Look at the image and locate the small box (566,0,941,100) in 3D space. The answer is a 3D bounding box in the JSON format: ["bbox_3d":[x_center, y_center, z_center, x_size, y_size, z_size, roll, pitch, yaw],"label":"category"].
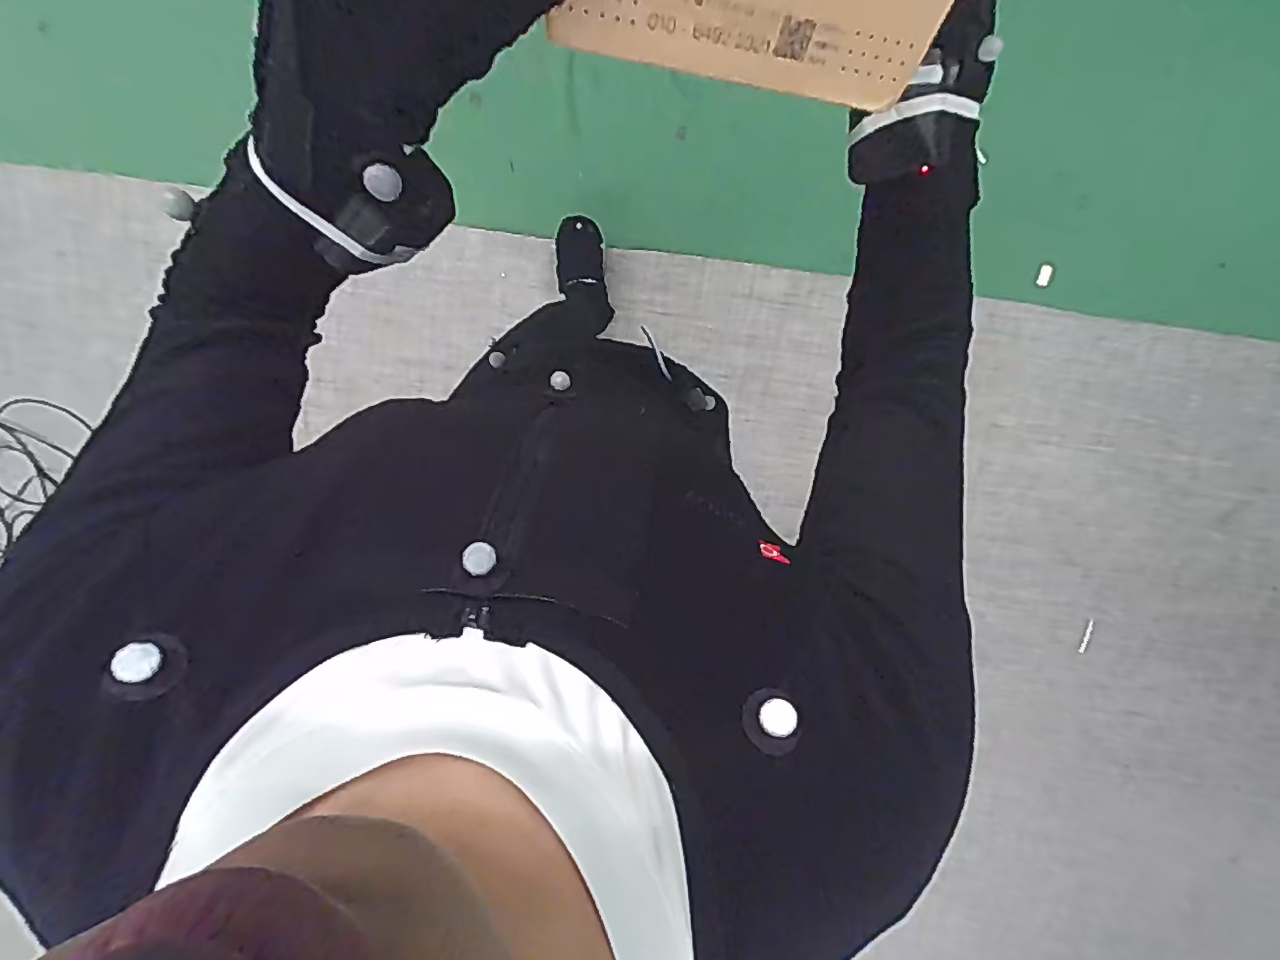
[{"bbox_3d":[0.056,-0.304,0.228,0.168,0.179,0.176,4,148,-10],"label":"small box"}]
